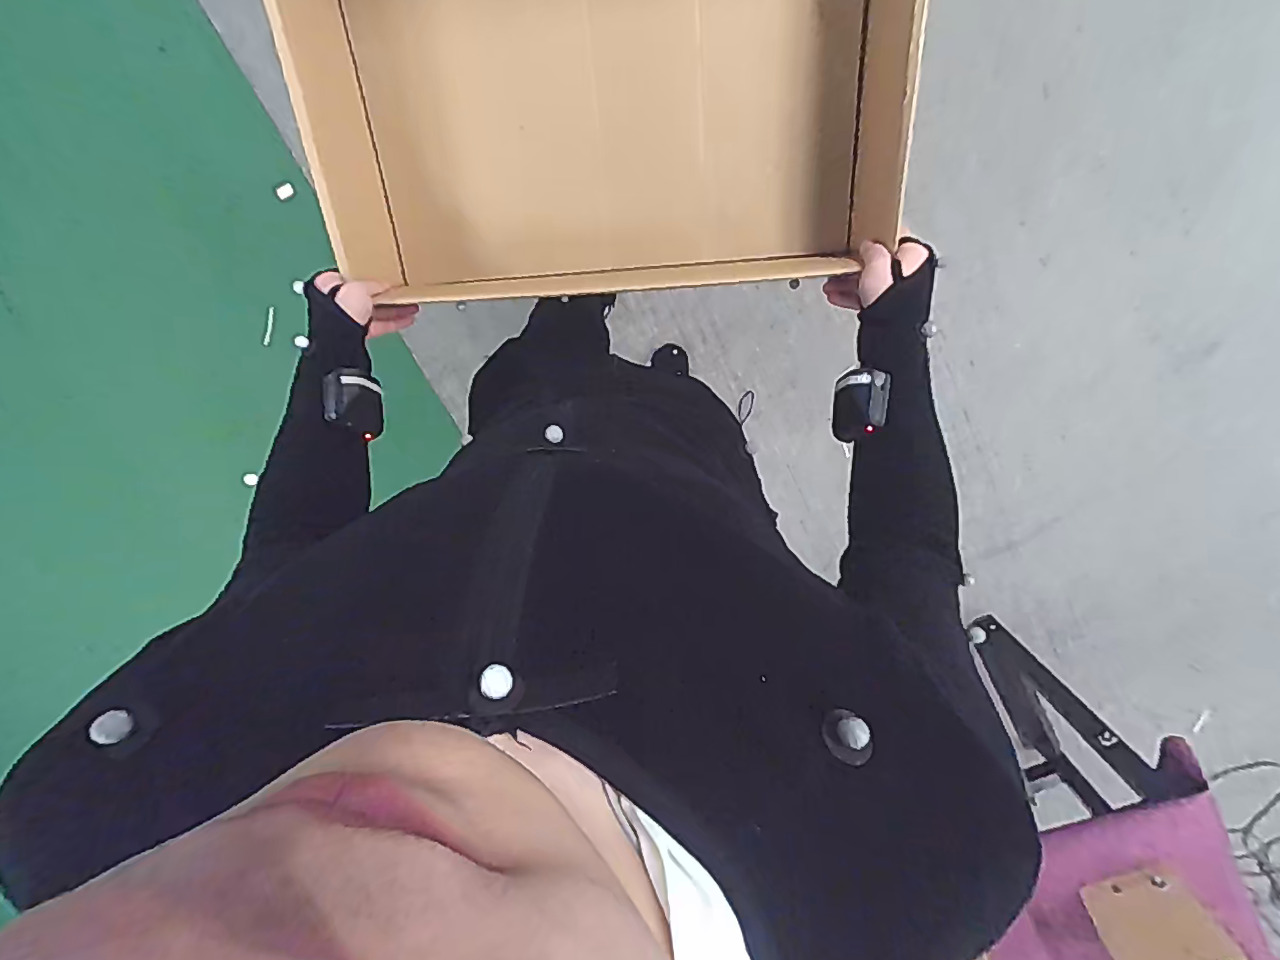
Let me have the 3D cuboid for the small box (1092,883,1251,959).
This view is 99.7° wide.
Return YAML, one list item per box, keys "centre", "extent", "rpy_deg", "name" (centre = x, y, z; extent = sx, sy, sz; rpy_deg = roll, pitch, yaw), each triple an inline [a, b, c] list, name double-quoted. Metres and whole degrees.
- centre: [0.983, 0.880, 0.987]
  extent: [0.168, 0.176, 0.179]
  rpy_deg: [-29, 104, 12]
  name: "small box"
